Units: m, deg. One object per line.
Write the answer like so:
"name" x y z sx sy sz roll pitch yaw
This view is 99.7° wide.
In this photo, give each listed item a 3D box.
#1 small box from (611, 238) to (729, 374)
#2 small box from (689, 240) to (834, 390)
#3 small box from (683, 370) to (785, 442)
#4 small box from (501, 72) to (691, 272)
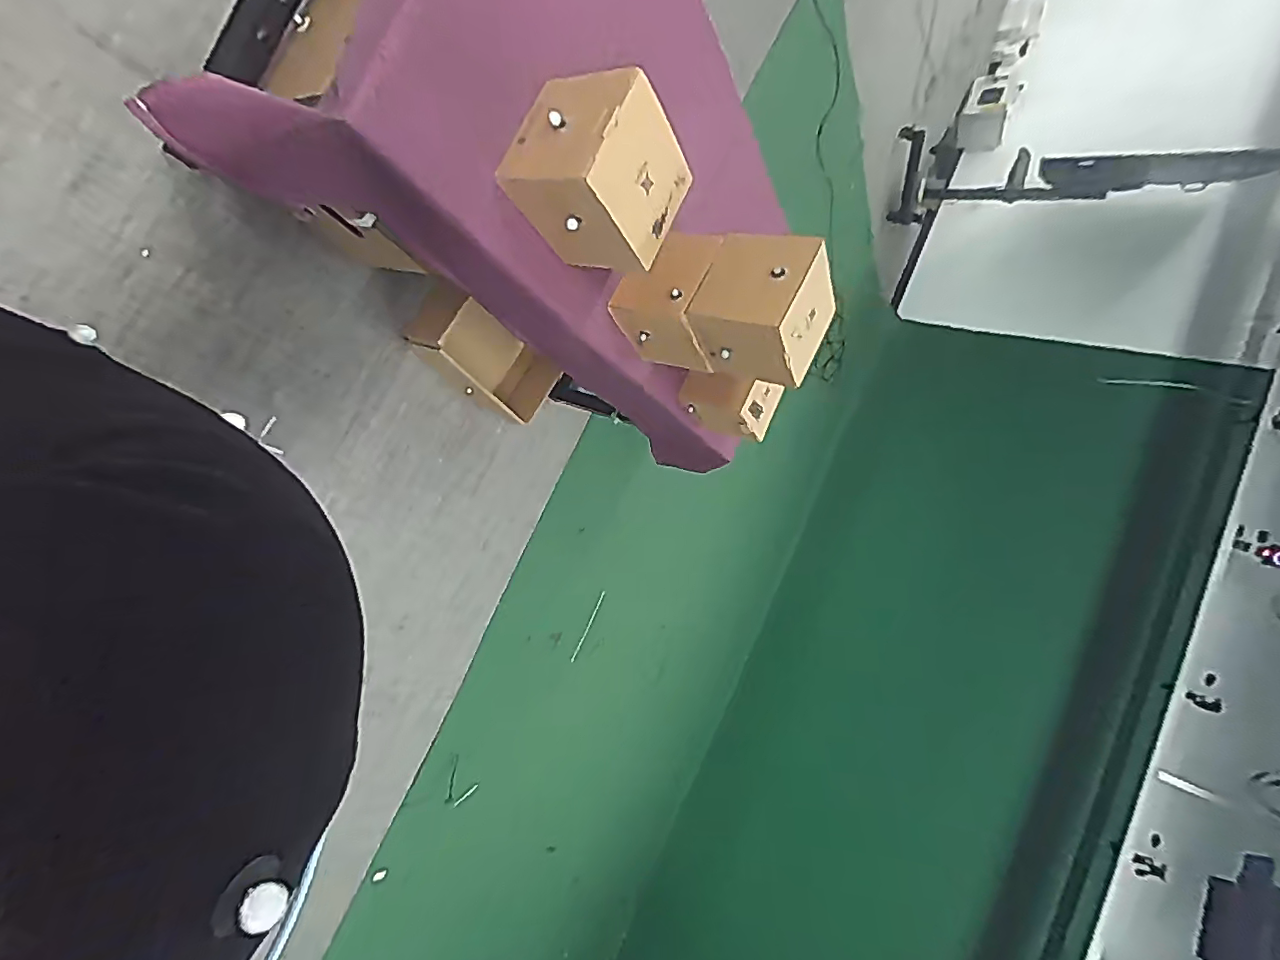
"small box" 0.075 -0.328 1.008 0.179 0.176 0.168 -61 146 -11
"small box" 0.208 -0.285 0.920 0.179 0.176 0.168 -61 145 -12
"small box" 0.220 -0.214 1.272 0.168 0.176 0.179 35 77 -56
"small box" -0.061 -0.419 0.759 0.179 0.176 0.168 36 78 -55
